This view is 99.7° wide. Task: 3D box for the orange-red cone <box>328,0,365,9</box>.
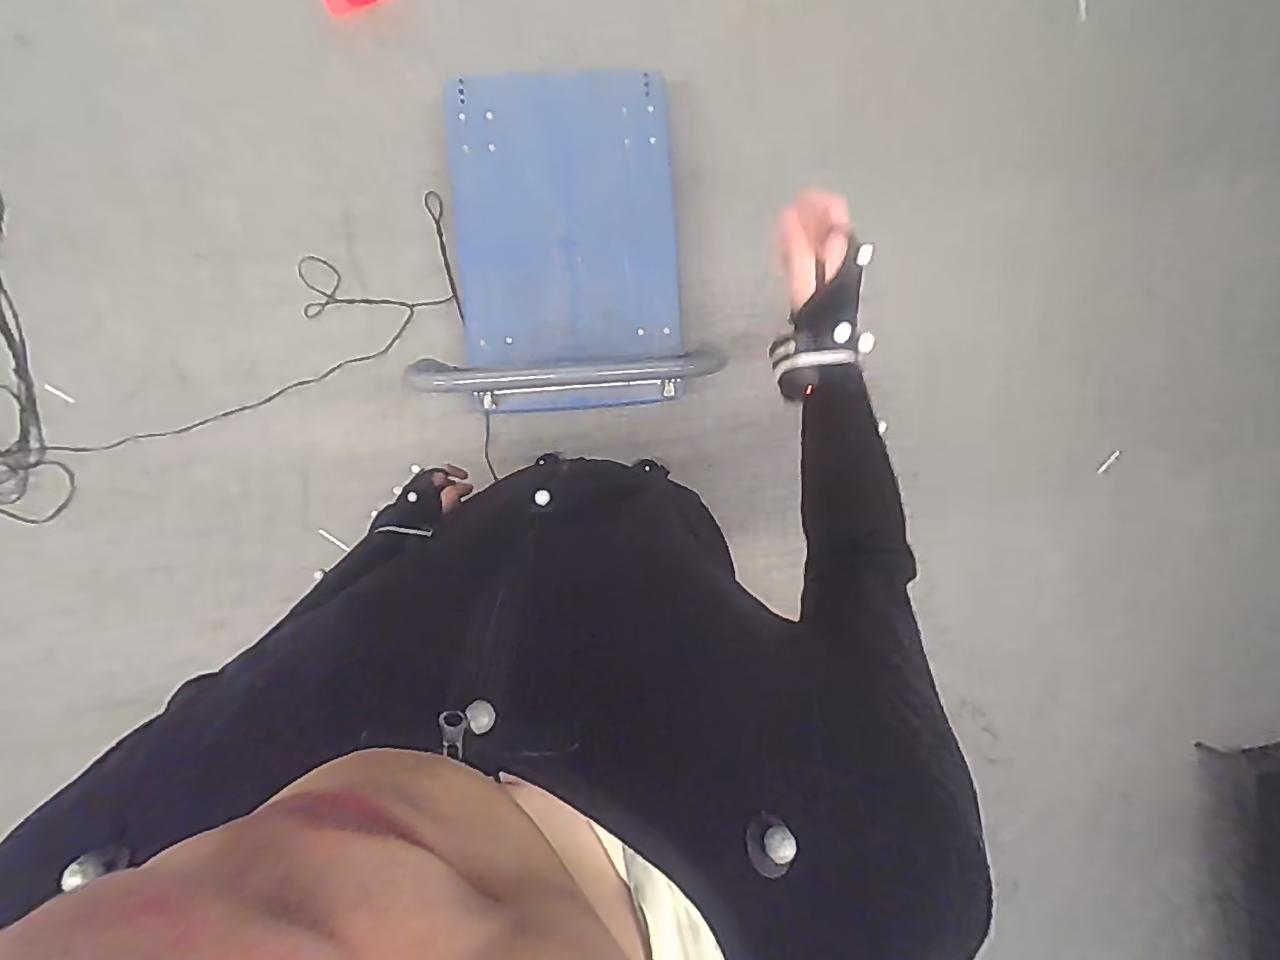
[{"bbox_3d":[-0.801,-1.427,1.340,0.199,0.360,0.198,-22,93,0],"label":"orange-red cone"}]
